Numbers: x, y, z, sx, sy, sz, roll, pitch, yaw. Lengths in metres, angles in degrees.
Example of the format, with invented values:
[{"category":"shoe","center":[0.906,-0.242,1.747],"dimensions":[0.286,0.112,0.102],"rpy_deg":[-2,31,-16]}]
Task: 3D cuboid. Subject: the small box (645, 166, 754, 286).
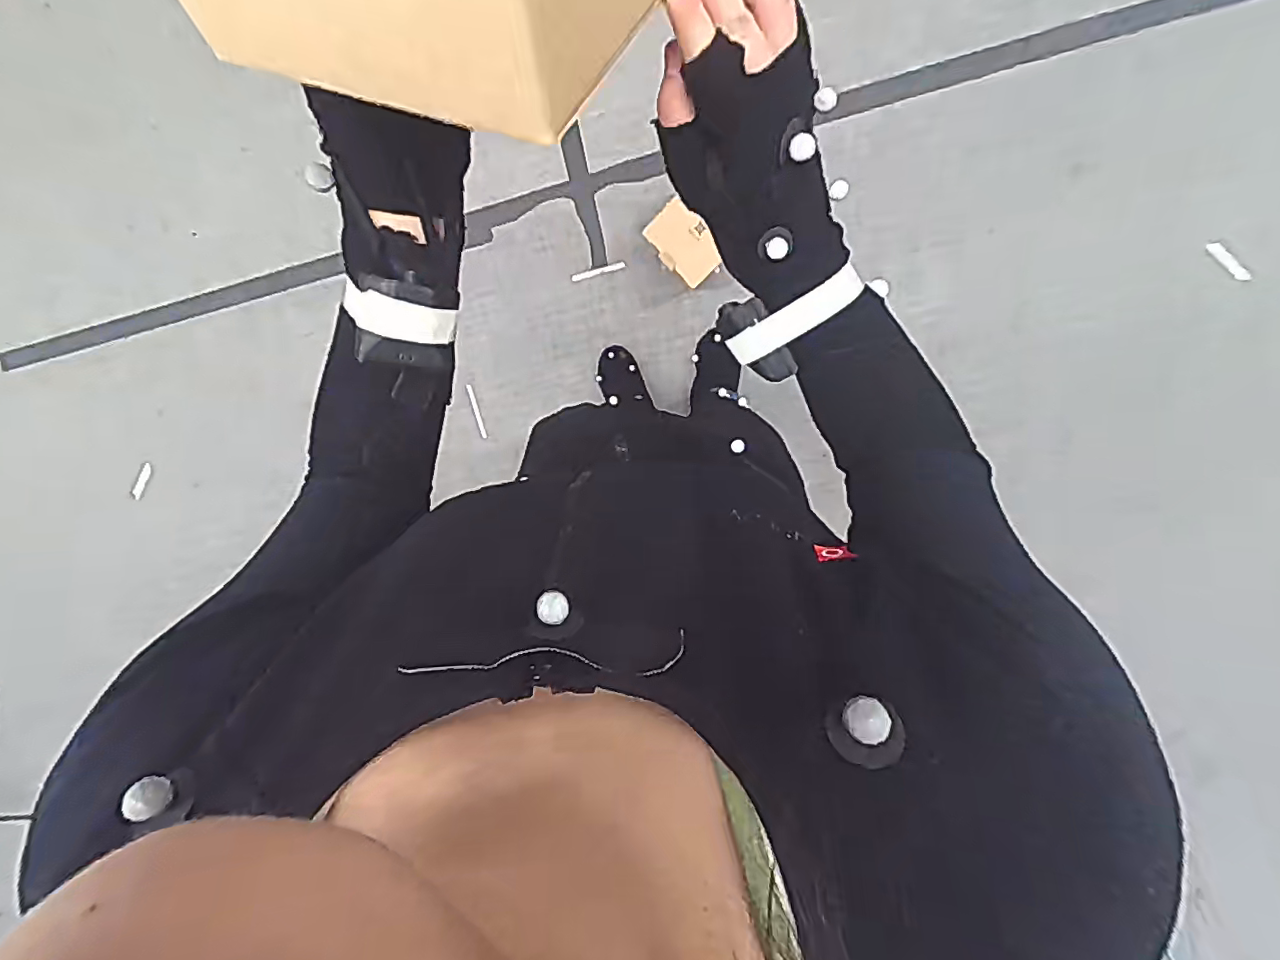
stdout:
[{"category":"small box","center":[0.134,-0.559,1.221],"dimensions":[0.168,0.176,0.179],"rpy_deg":[44,106,-9]}]
